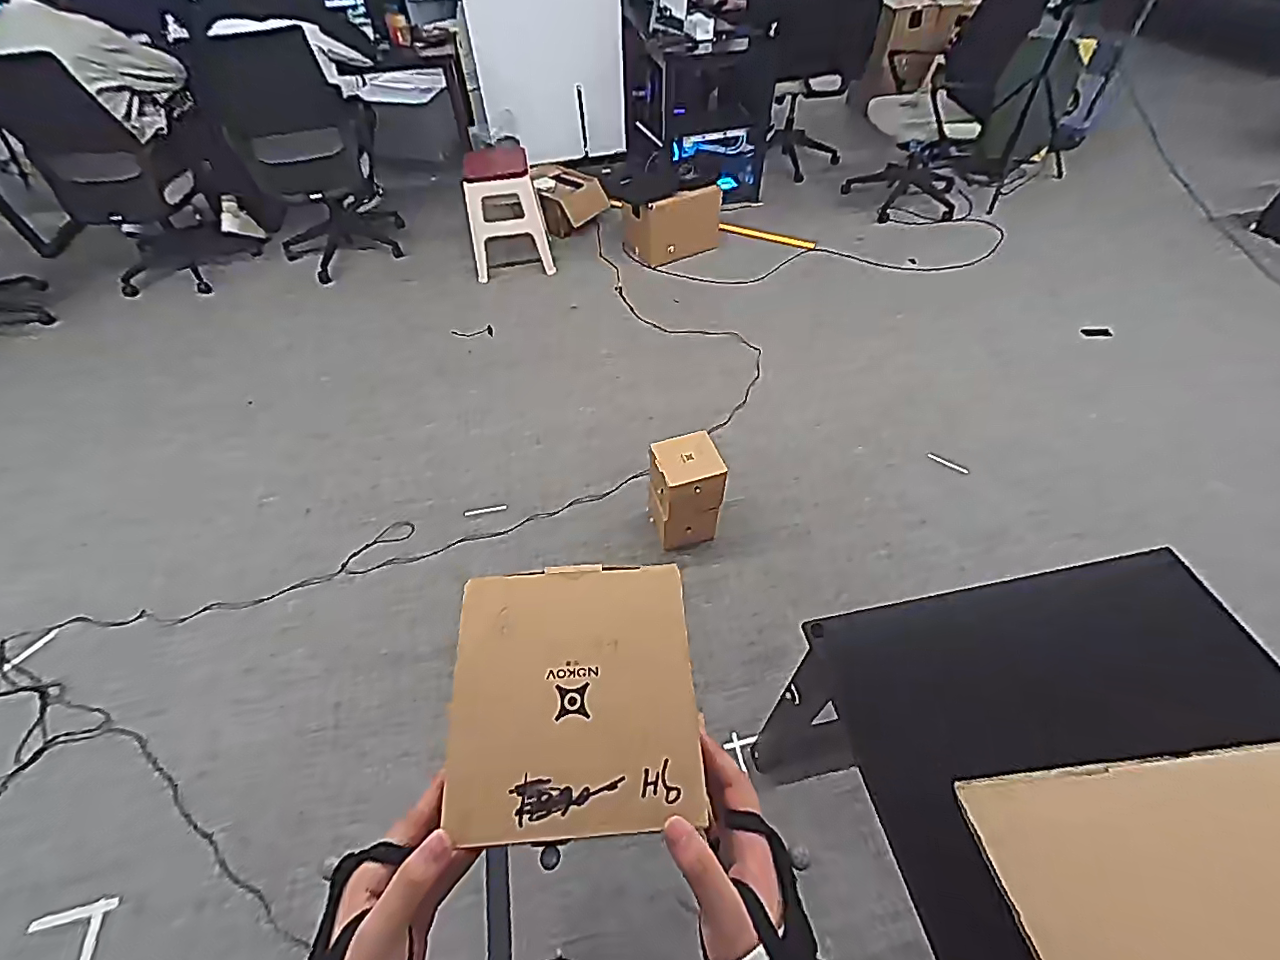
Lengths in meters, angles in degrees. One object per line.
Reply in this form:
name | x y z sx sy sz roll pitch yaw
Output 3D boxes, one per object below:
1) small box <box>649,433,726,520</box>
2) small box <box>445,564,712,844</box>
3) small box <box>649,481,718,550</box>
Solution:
small box | 0.133 -0.006 1.577 0.179 0.176 0.168 -15 53 -12
small box | -0.043 0.186 0.439 0.168 0.176 0.179 -4 57 -2
small box | 0.131 0.097 1.702 0.179 0.176 0.168 -14 52 -8
